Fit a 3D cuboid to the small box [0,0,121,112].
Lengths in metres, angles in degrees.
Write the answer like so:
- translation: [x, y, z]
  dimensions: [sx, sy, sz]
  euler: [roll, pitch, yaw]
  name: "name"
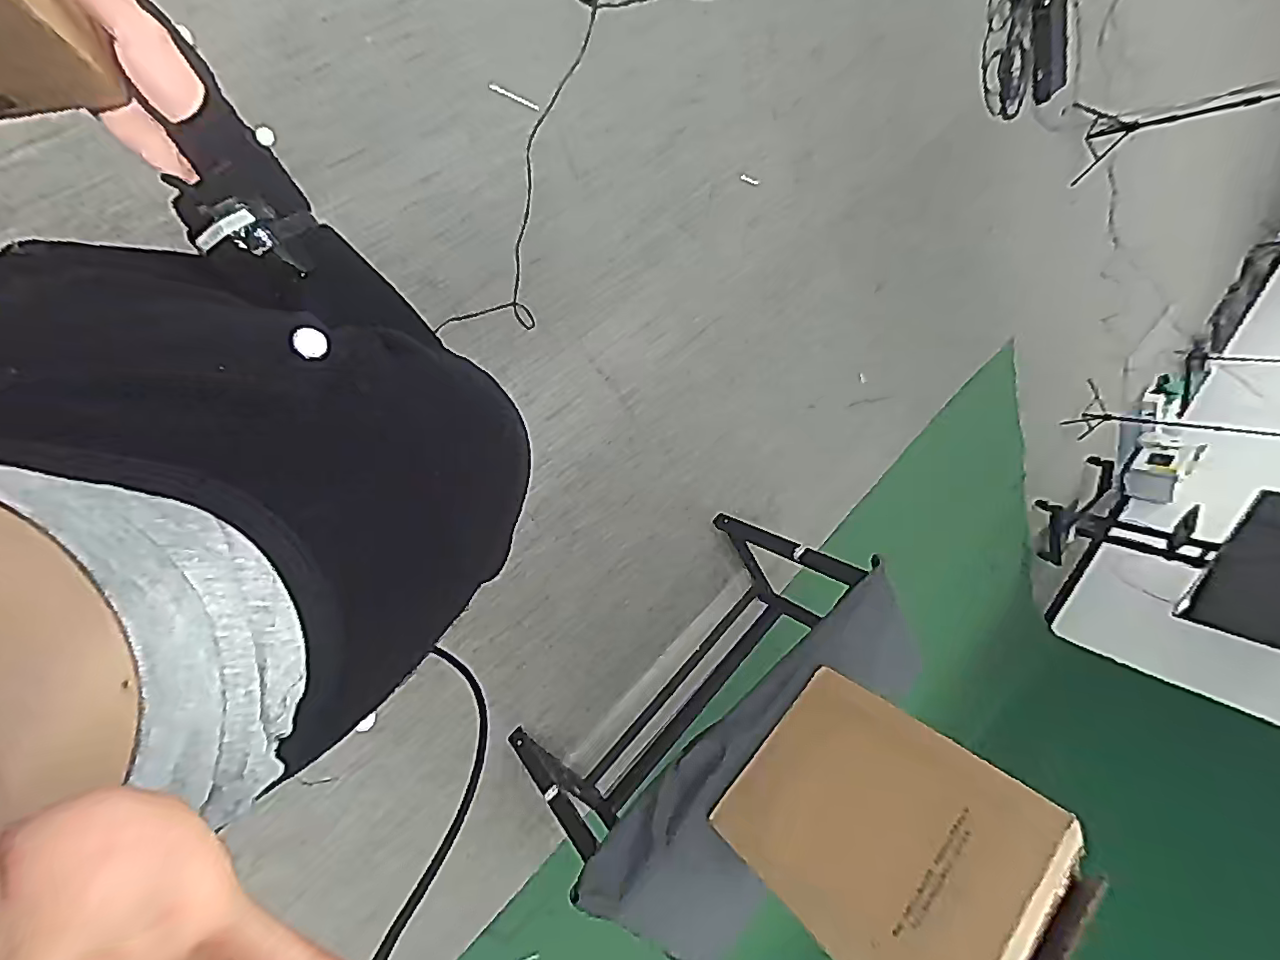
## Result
- translation: [-0.397, -0.280, 0.235]
  dimensions: [0.168, 0.176, 0.179]
  euler: [-23, 110, -16]
  name: "small box"
